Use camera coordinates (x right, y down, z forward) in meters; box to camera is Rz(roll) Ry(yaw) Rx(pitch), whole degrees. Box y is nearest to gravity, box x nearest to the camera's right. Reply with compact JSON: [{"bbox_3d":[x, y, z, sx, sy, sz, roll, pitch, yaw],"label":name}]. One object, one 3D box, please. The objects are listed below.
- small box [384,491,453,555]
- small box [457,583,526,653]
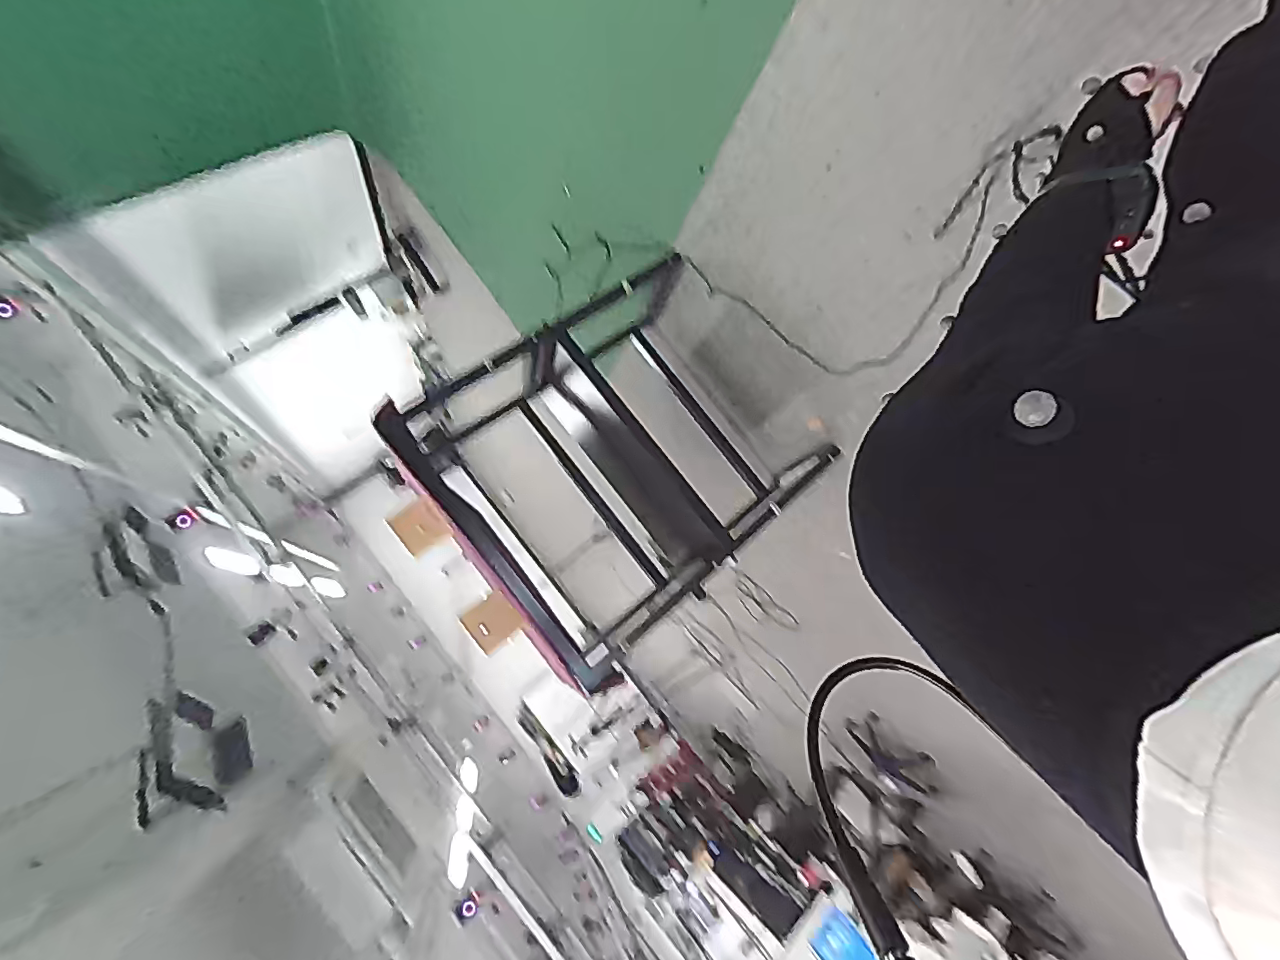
[{"bbox_3d":[-0.812,0.158,2.003,0.168,0.176,0.179,52,160,-1],"label":"small box"},{"bbox_3d":[-0.523,0.492,1.923,0.179,0.176,0.168,50,159,6],"label":"small box"}]
